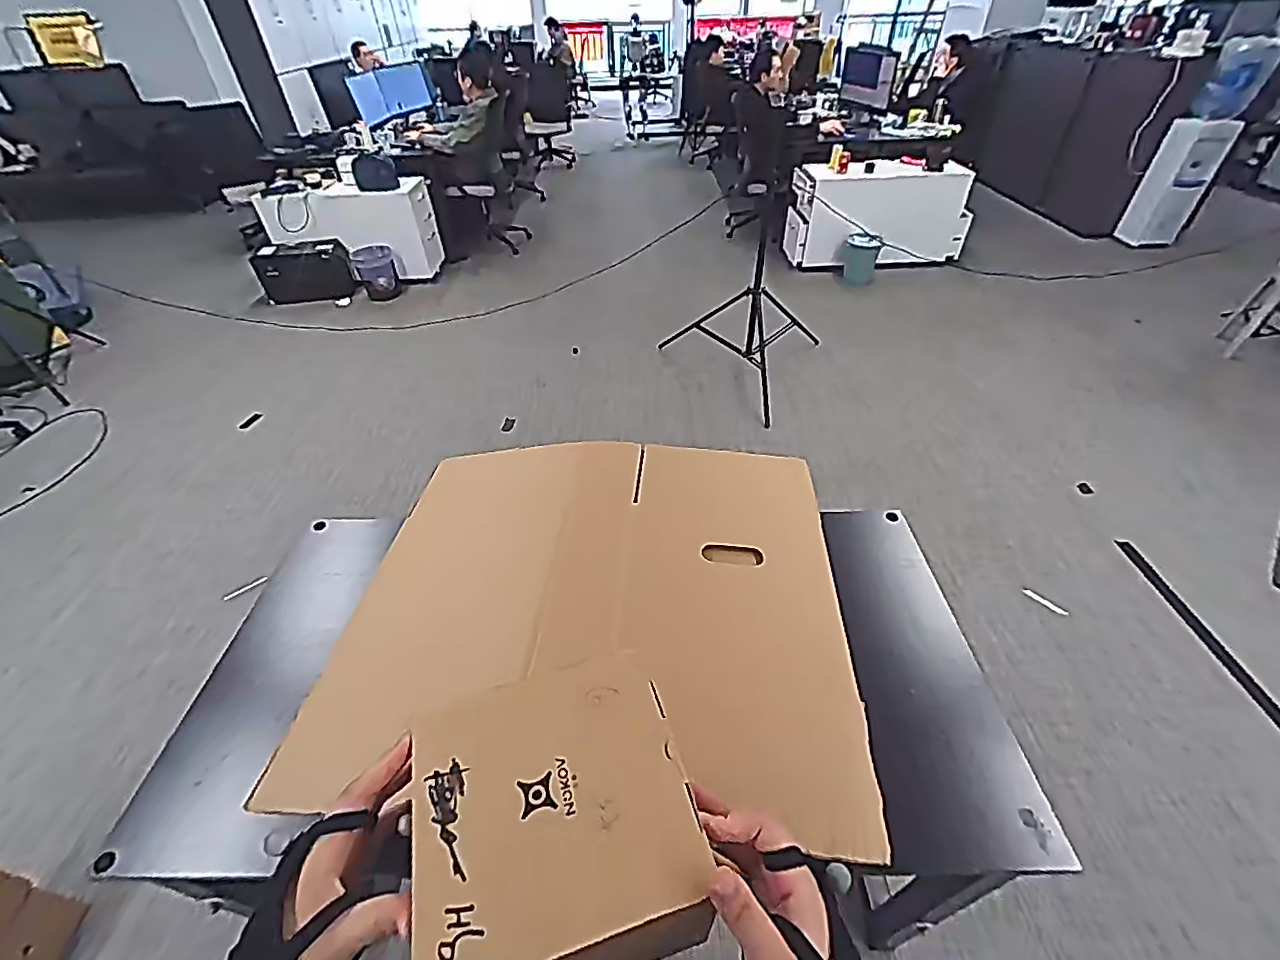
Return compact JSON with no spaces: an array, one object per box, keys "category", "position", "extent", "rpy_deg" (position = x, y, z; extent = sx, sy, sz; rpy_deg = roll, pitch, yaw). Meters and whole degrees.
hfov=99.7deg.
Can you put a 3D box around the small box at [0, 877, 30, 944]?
[{"category":"small box","position":[-1.334,0.855,1.011],"extent":[0.168,0.176,0.179],"rpy_deg":[-5,41,-5]}]

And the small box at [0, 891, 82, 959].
[{"category":"small box","position":[-1.329,0.981,1.114],"extent":[0.168,0.176,0.179],"rpy_deg":[-4,42,-2]}]
